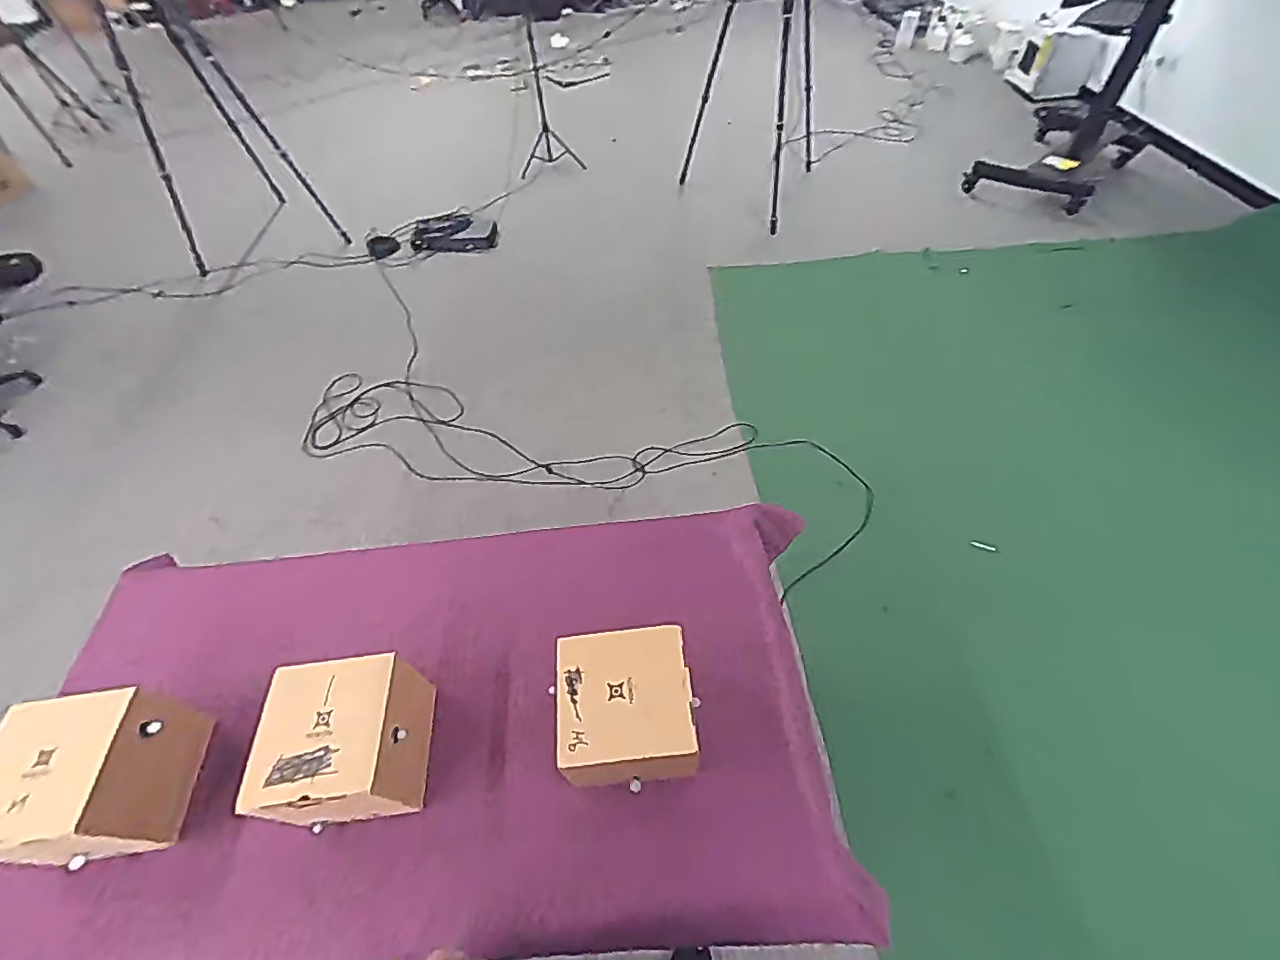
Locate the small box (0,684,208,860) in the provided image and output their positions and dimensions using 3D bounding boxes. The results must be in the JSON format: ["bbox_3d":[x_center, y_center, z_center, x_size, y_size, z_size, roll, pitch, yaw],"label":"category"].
[{"bbox_3d":[-0.754,0.406,0.749,0.168,0.176,0.179,-8,52,-2],"label":"small box"}]

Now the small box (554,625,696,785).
[{"bbox_3d":[-0.021,0.322,0.767,0.179,0.176,0.168,-6,52,-1],"label":"small box"}]

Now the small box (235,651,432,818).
[{"bbox_3d":[-0.409,0.363,0.762,0.168,0.176,0.179,-7,52,-2],"label":"small box"}]
